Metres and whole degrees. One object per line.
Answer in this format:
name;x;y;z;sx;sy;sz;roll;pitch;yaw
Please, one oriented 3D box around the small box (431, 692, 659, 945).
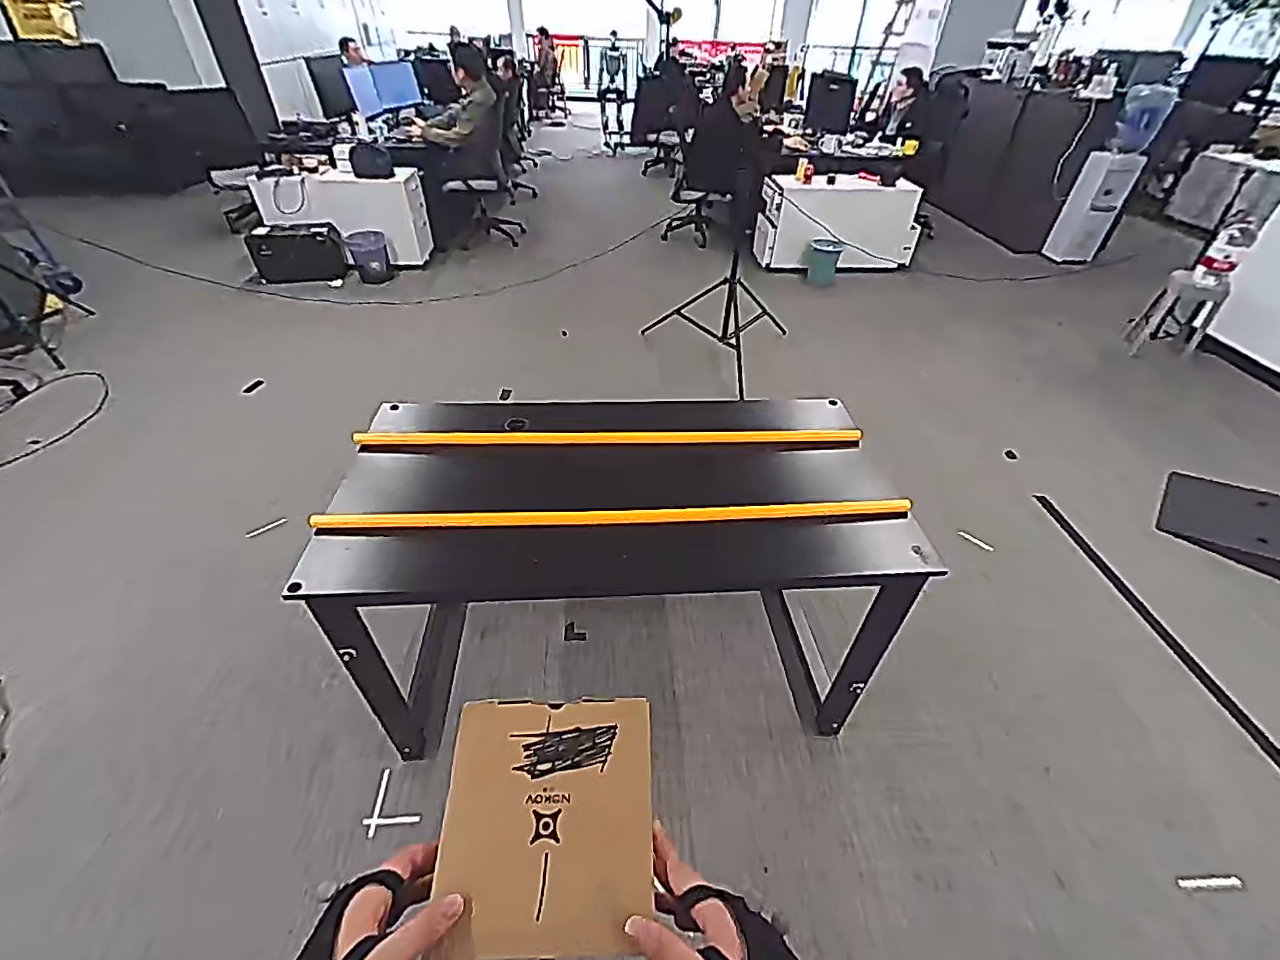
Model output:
small box;-0.072;0.312;0.499;0.168;0.176;0.179;0;51;-2
